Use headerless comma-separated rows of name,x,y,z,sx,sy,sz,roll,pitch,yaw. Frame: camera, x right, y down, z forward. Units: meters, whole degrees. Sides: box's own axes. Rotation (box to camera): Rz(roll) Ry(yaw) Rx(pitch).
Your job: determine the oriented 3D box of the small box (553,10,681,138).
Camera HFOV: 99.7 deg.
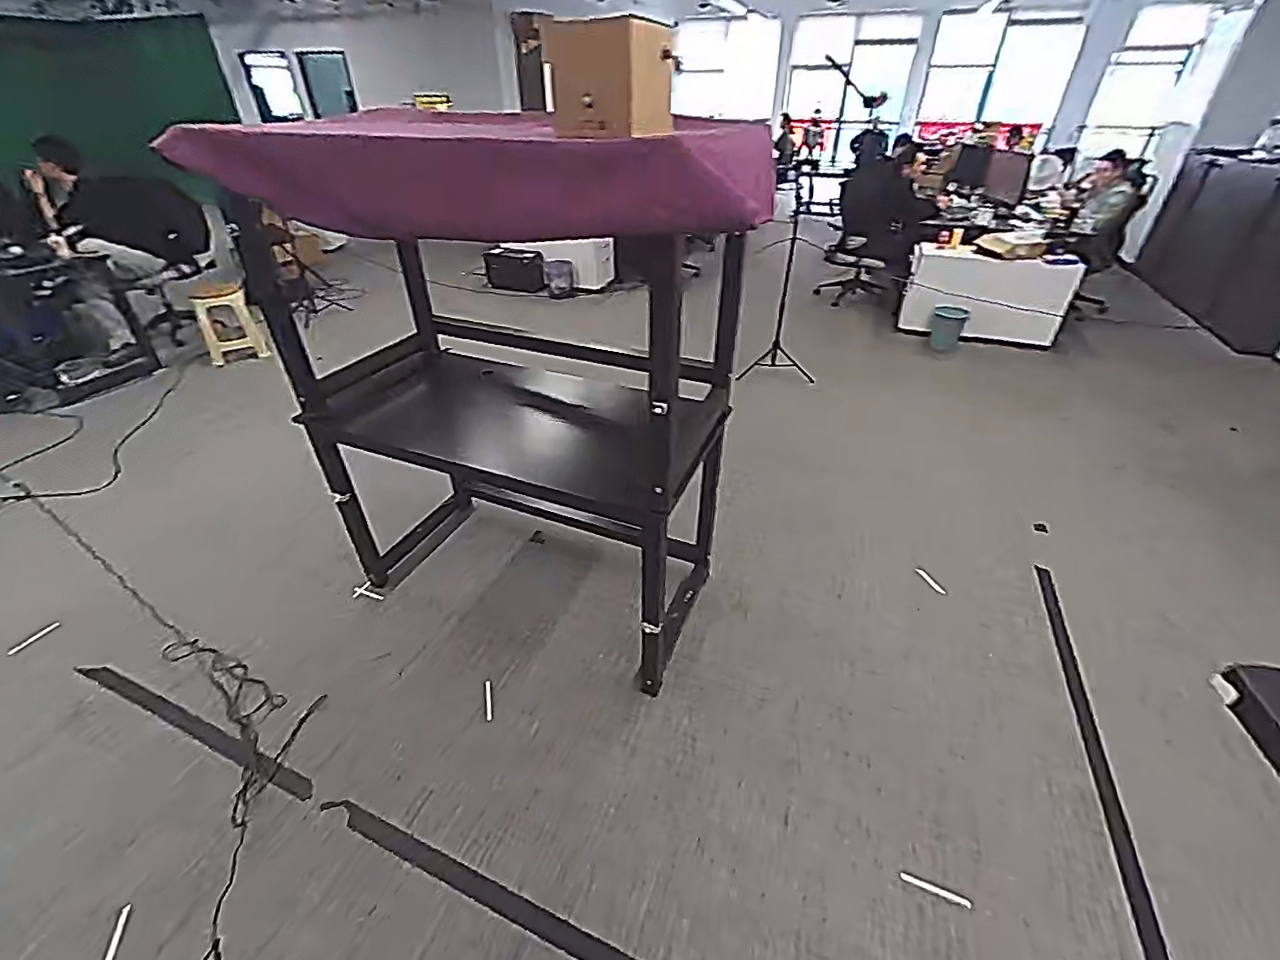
small box,-0.038,-0.724,0.976,0.168,0.176,0.179,16,38,22
